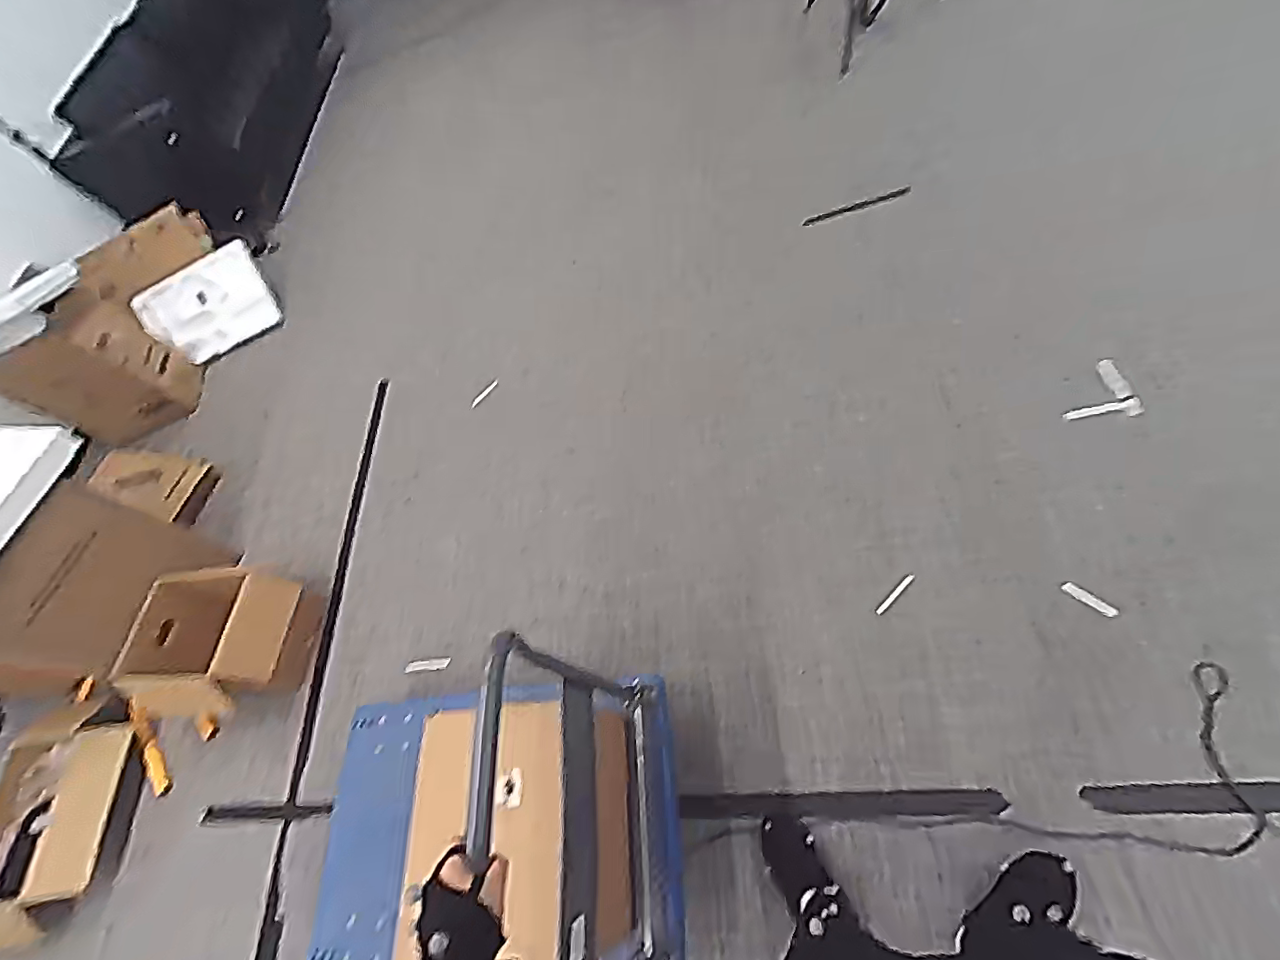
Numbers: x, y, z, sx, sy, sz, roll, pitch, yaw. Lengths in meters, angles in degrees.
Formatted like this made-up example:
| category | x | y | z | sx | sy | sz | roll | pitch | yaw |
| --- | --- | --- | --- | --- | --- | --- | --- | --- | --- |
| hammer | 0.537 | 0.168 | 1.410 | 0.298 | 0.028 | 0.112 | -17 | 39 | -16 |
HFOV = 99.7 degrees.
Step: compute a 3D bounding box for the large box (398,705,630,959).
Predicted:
| category | x | y | z | sx | sy | sz | roll | pitch | yaw |
| --- | --- | --- | --- | --- | --- | --- | --- | --- | --- |
| large box | -0.219 | 0.690 | 1.062 | 0.320 | 0.320 | 0.408 | -11 | 59 | 13 |
